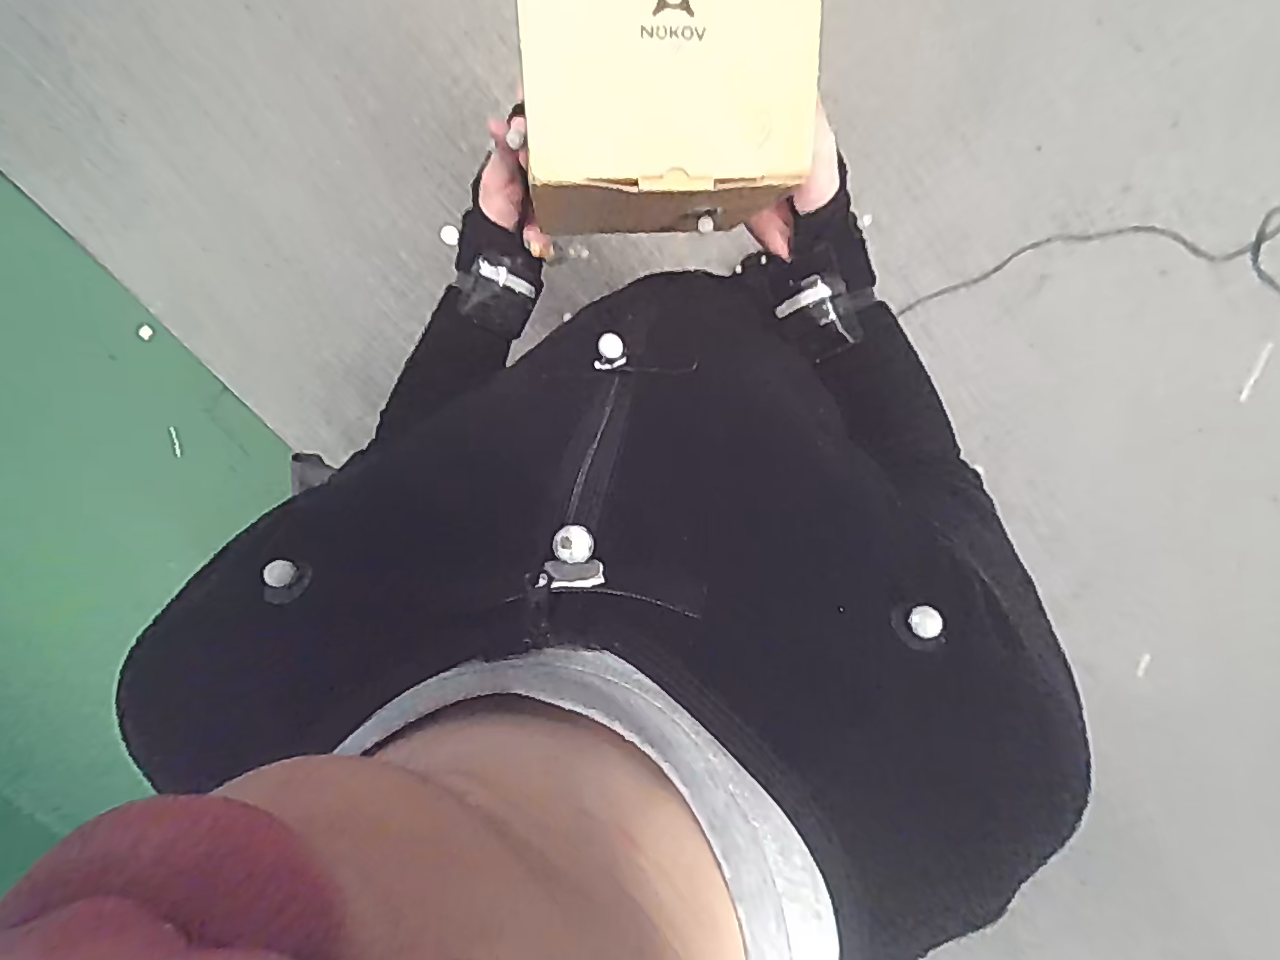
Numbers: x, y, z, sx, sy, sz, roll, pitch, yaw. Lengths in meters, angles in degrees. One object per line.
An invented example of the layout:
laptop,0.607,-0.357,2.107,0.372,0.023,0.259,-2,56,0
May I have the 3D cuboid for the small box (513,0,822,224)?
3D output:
small box,0.006,-0.275,0.357,0.168,0.176,0.179,-5,105,-8
